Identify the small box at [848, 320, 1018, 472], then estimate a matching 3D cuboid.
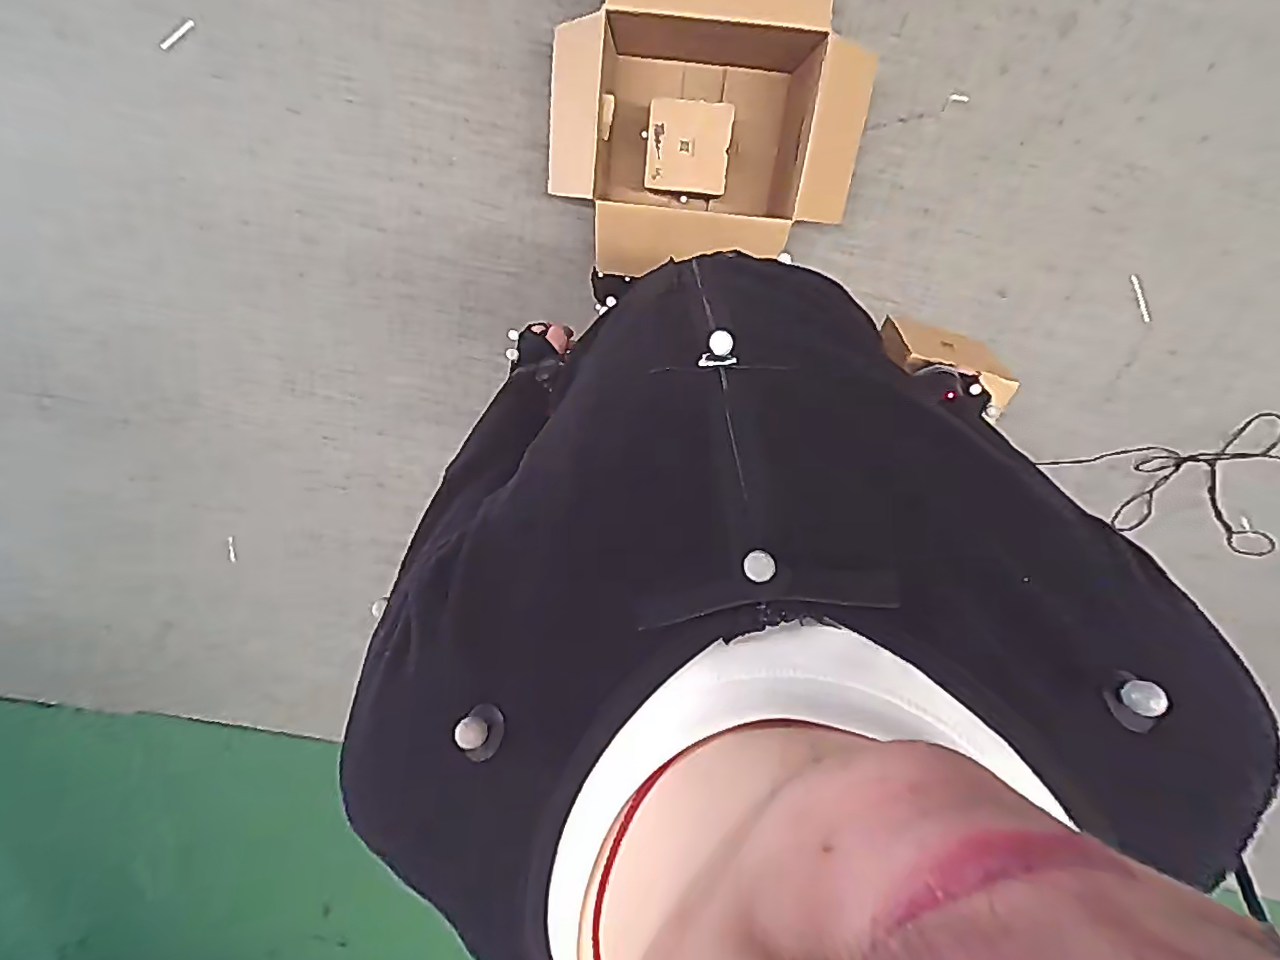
[{"bbox_3d":[0.458,-0.137,0.880,0.168,0.179,0.176,16,125,2],"label":"small box"}]
